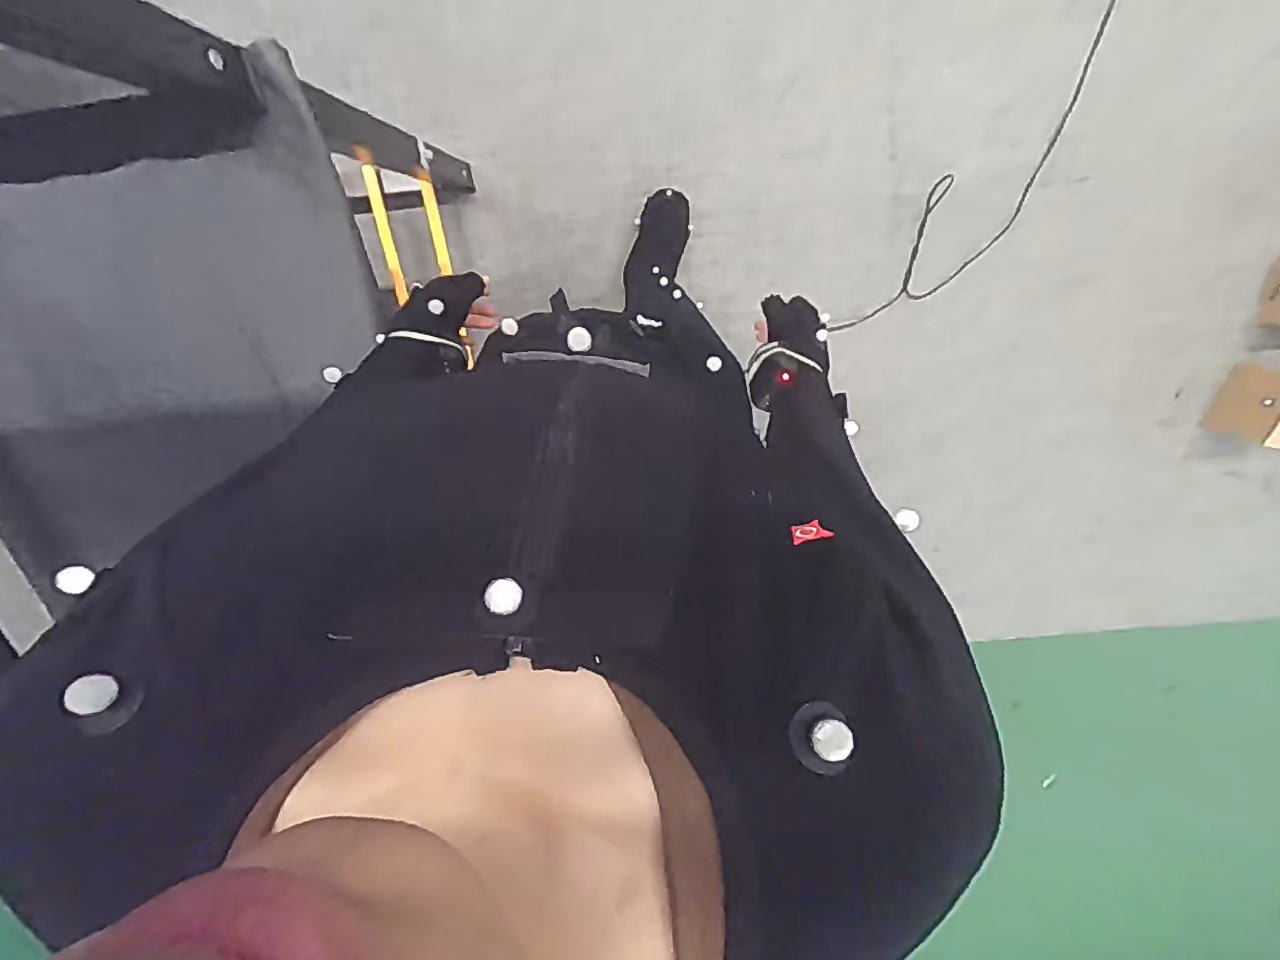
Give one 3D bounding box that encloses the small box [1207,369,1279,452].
[{"bbox_3d":[1.625,-0.173,1.371,0.168,0.176,0.179,8,113,-3],"label":"small box"}]
